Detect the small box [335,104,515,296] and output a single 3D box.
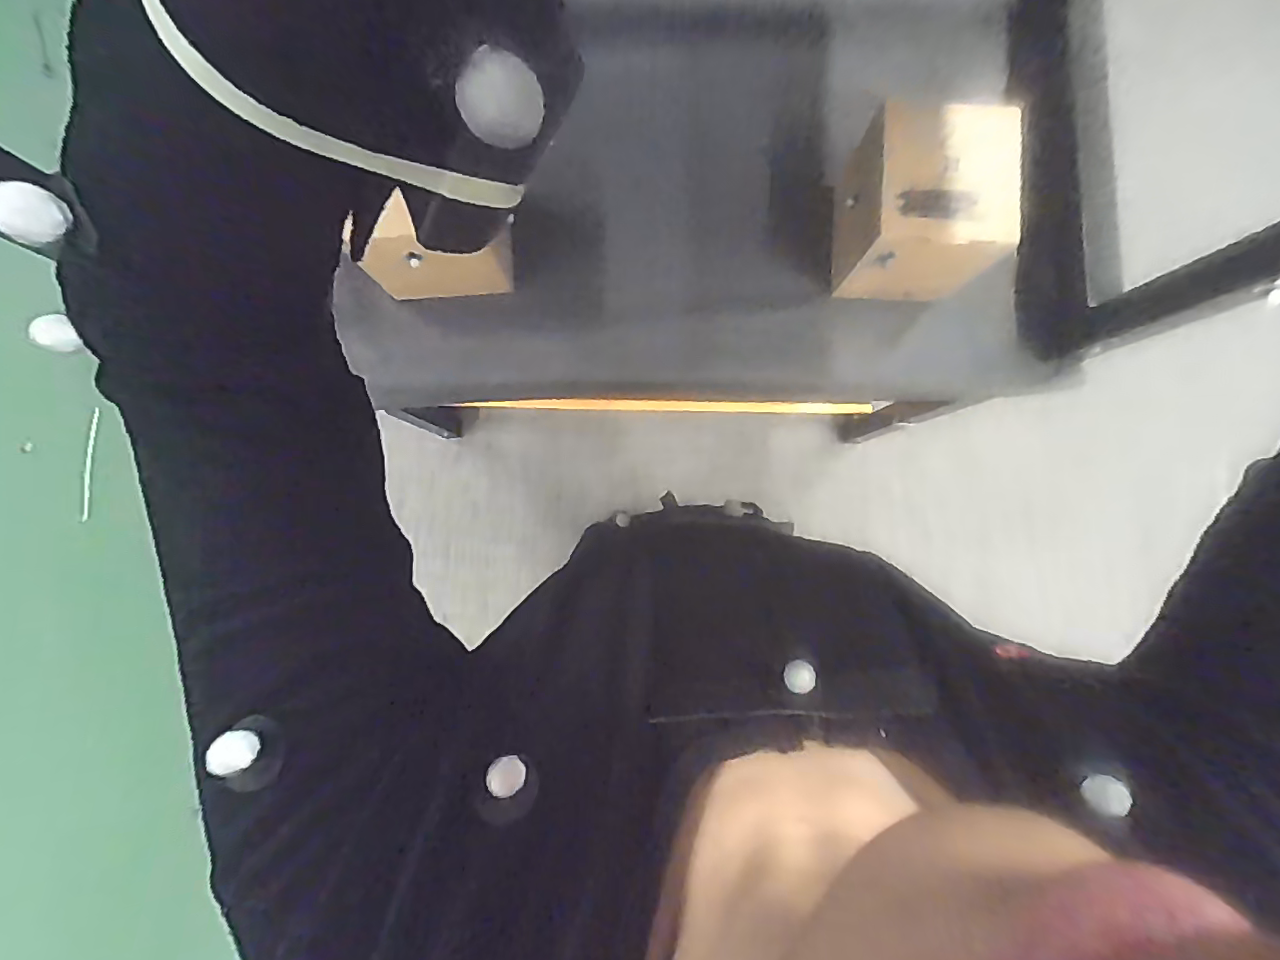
[{"bbox_3d":[-0.275,-0.358,0.721,0.179,0.176,0.168,-4,86,-1],"label":"small box"}]
